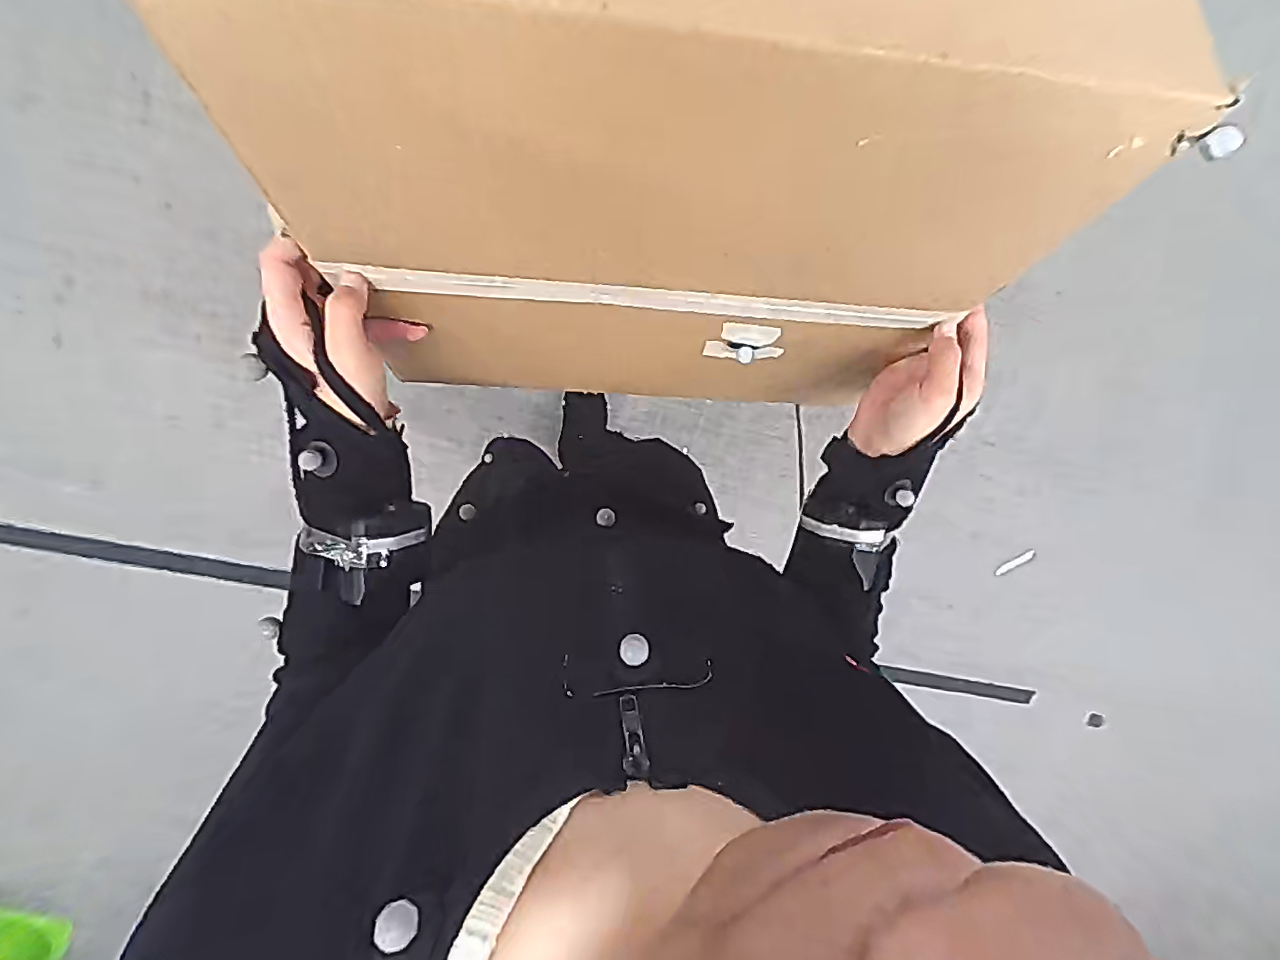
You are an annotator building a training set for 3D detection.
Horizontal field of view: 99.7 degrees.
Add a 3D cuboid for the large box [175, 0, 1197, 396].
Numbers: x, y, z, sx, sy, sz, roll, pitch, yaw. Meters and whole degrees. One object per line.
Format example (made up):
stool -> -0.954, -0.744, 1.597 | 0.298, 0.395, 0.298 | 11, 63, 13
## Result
large box -> 0.015, -0.269, 0.382 | 0.408, 0.320, 0.320 | 2, 76, -7
